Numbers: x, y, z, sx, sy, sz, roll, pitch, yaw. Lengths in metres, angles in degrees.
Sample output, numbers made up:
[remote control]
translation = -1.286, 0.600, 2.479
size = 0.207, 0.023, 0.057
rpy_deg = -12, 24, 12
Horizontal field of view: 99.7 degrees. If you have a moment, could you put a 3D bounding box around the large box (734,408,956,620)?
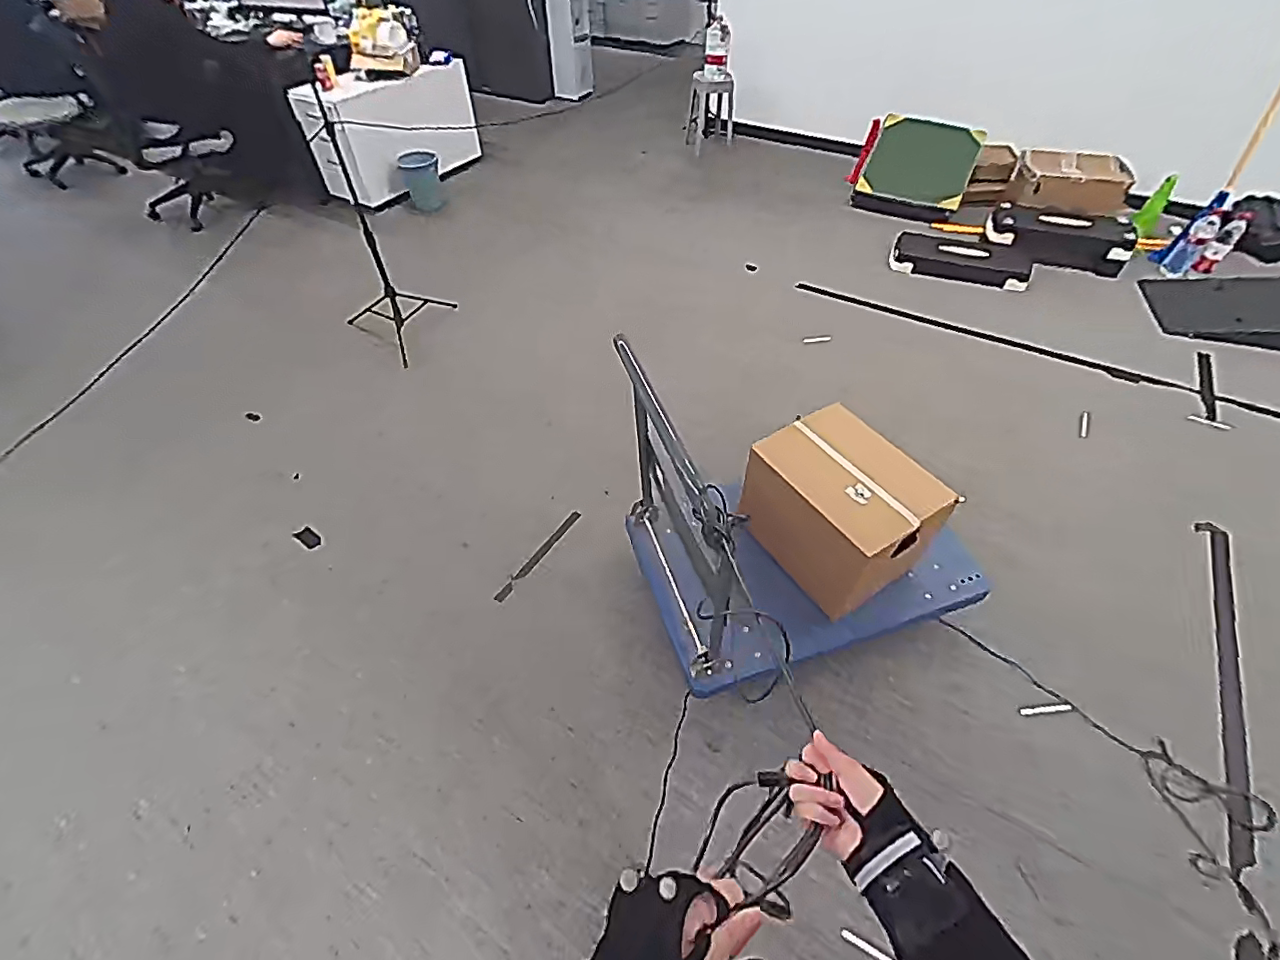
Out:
[large box]
translation = 0.509, 0.082, 1.437
size = 0.320, 0.320, 0.408
rpy_deg = -26, 55, -20
